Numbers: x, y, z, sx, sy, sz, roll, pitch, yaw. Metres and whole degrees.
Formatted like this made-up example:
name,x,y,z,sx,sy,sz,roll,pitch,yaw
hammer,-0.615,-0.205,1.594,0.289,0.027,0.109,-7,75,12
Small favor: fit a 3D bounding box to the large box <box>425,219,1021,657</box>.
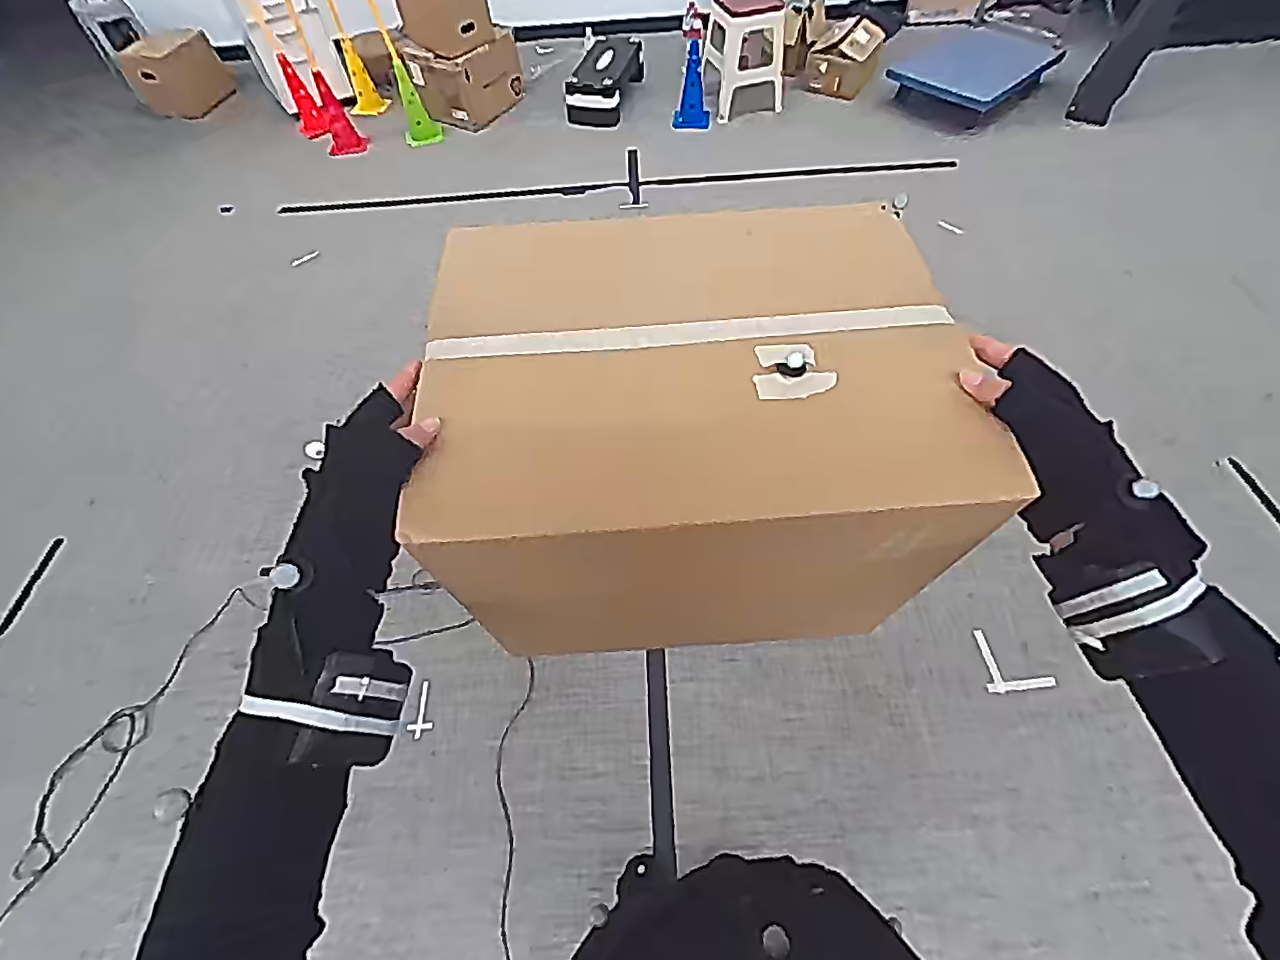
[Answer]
name,x,y,z,sx,sy,sz,roll,pitch,yaw
large box,0.046,-0.025,0.553,0.408,0.320,0.320,-4,60,-2
